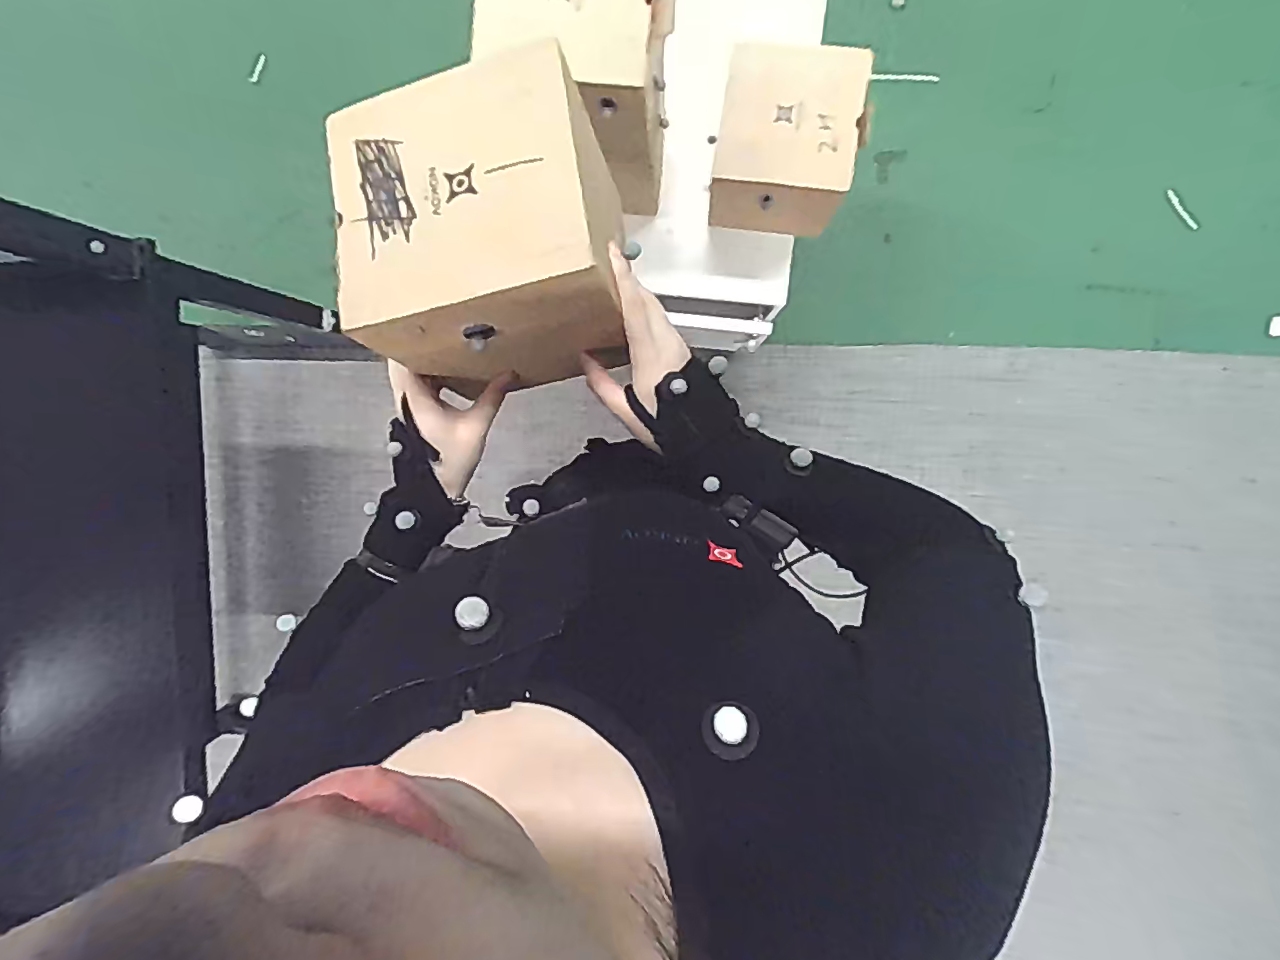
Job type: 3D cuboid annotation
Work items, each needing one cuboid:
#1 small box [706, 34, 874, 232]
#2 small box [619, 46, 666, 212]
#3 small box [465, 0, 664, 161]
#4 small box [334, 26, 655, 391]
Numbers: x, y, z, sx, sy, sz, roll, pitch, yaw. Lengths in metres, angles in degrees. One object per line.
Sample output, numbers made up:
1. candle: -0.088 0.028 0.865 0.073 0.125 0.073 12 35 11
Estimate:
1. small box: 0.187 -0.454 0.733 0.179 0.176 0.168 9 97 4
2. small box: -0.060 -0.490 0.751 0.179 0.176 0.168 5 96 3
3. small box: -0.070 -0.474 0.588 0.179 0.176 0.168 6 96 1
4. small box: -0.098 -0.180 0.418 0.179 0.176 0.168 -11 81 10
